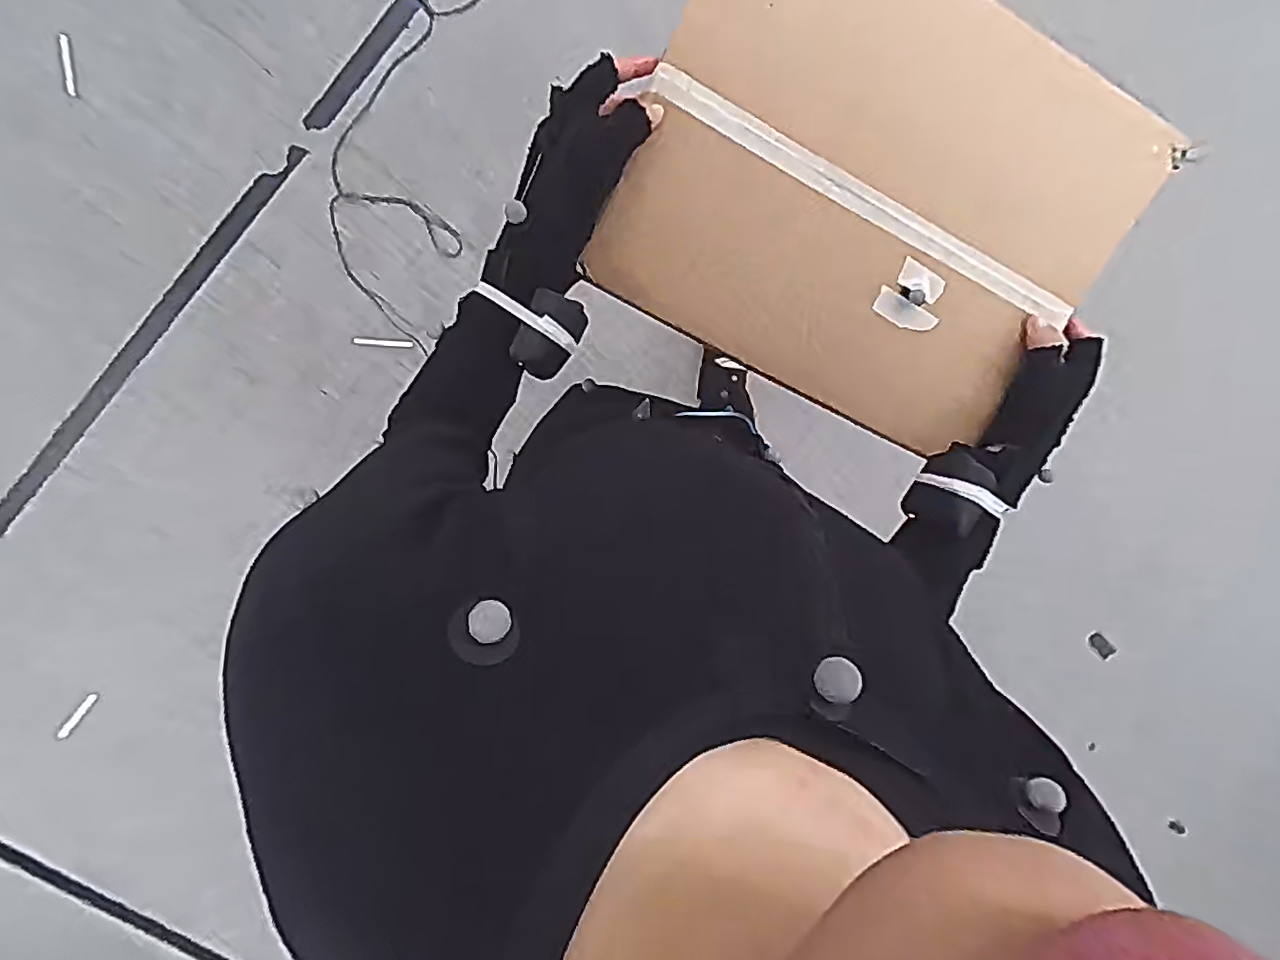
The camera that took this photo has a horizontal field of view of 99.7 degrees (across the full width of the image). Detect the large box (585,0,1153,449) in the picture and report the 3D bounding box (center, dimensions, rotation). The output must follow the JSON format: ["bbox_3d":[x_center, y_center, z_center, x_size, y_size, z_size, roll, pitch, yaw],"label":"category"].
[{"bbox_3d":[0.185,-0.285,0.604,0.408,0.320,0.320,25,107,-10],"label":"large box"}]
